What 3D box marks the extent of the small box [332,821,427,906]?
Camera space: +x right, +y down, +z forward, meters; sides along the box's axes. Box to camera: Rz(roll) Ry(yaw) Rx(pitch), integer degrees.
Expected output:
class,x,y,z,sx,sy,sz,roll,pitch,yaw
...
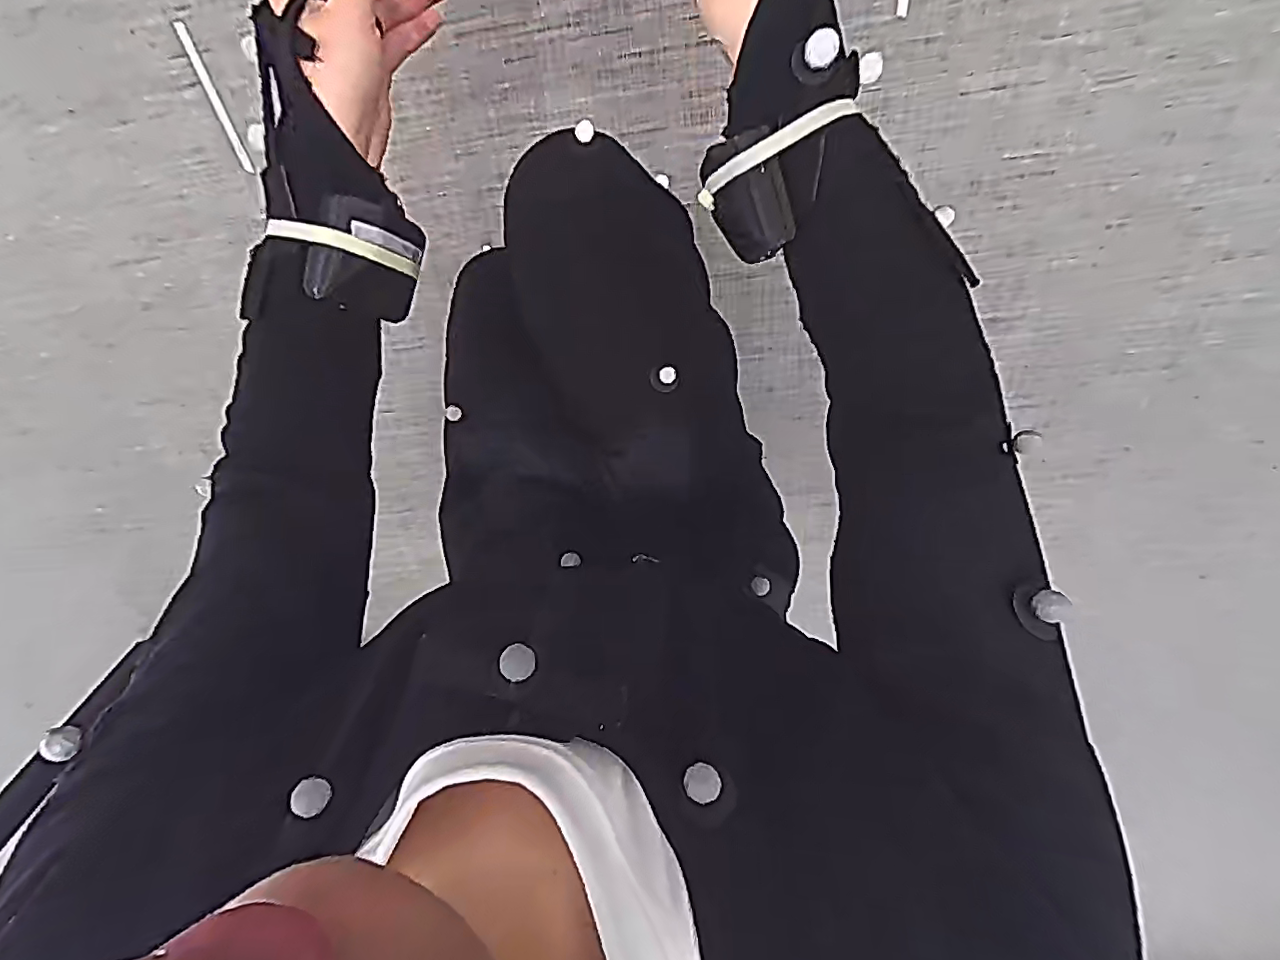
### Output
class,x,y,z,sx,sy,sz,roll,pitch,yaw
small box,-0.780,1.162,1.640,0.179,0.176,0.168,-8,127,6
